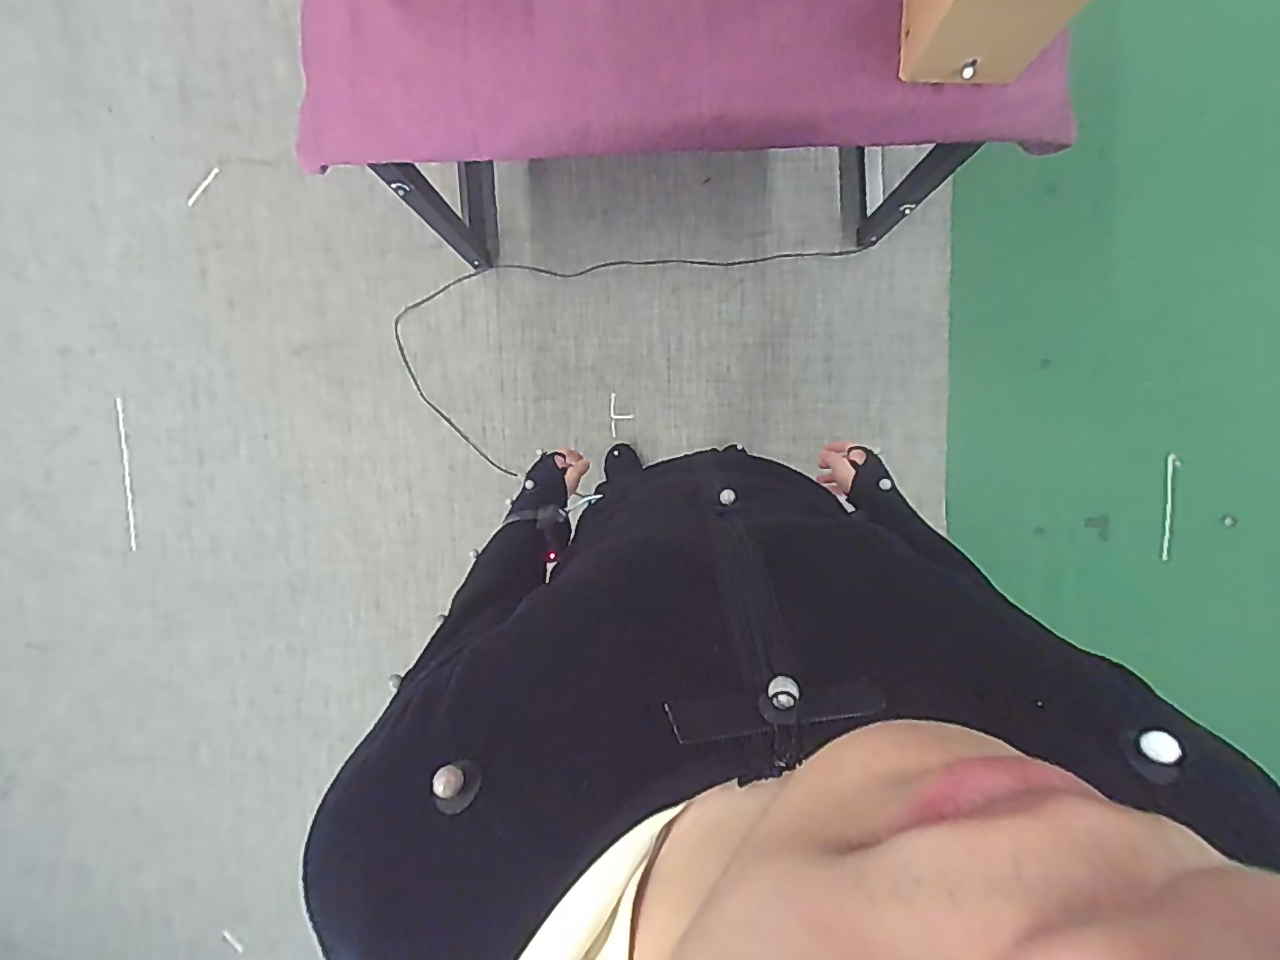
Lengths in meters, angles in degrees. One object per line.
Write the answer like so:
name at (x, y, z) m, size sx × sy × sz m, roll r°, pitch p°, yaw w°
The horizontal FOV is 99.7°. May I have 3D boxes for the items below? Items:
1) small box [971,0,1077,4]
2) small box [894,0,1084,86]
small box at (0.489, -0.698, 0.610) m, size 0.168 × 0.176 × 0.179 m, roll 2°, pitch 92°, yaw 3°
small box at (0.493, -0.702, 0.773) m, size 0.179 × 0.176 × 0.168 m, roll 2°, pitch 92°, yaw 2°
